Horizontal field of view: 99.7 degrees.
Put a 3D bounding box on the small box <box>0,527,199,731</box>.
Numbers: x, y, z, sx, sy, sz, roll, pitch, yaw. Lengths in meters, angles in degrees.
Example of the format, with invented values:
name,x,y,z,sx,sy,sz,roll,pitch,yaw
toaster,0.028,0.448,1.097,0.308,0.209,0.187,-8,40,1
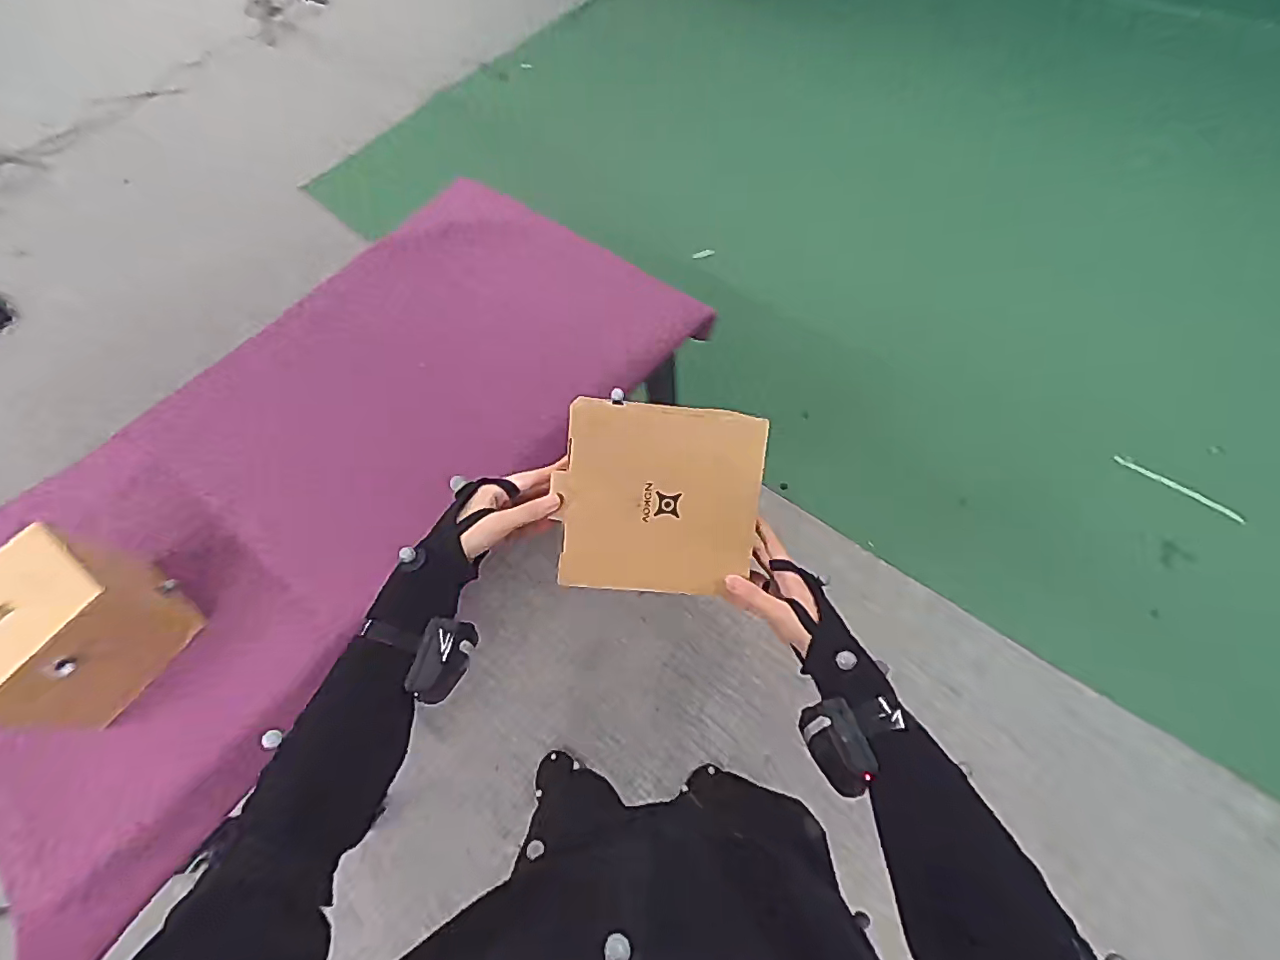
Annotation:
name,x,y,z,sx,sy,sz,roll,pitch,yaw
small box,-0.734,0.197,0.690,0.168,0.176,0.179,31,69,18

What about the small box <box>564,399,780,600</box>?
name,x,y,z,sx,sy,sz,roll,pitch,yaw
small box,0.022,0.009,0.553,0.179,0.176,0.168,6,99,-4
